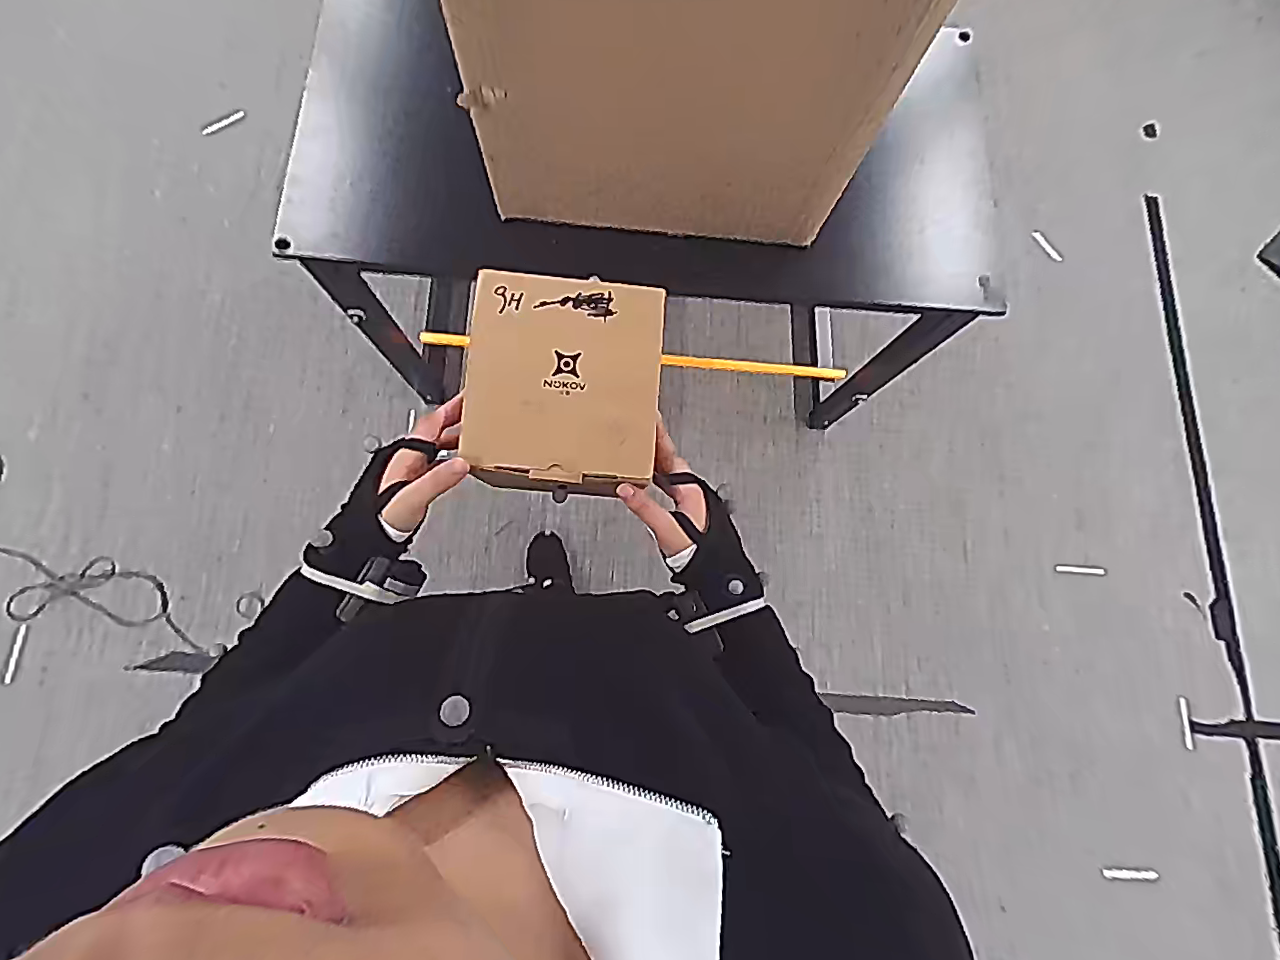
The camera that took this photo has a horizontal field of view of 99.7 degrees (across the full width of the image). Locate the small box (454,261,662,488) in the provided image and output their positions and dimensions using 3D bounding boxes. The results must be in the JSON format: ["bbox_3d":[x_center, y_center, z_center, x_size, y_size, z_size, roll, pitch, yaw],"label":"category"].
[{"bbox_3d":[-0.073,-0.088,0.540,0.168,0.176,0.179,5,84,-4],"label":"small box"}]
